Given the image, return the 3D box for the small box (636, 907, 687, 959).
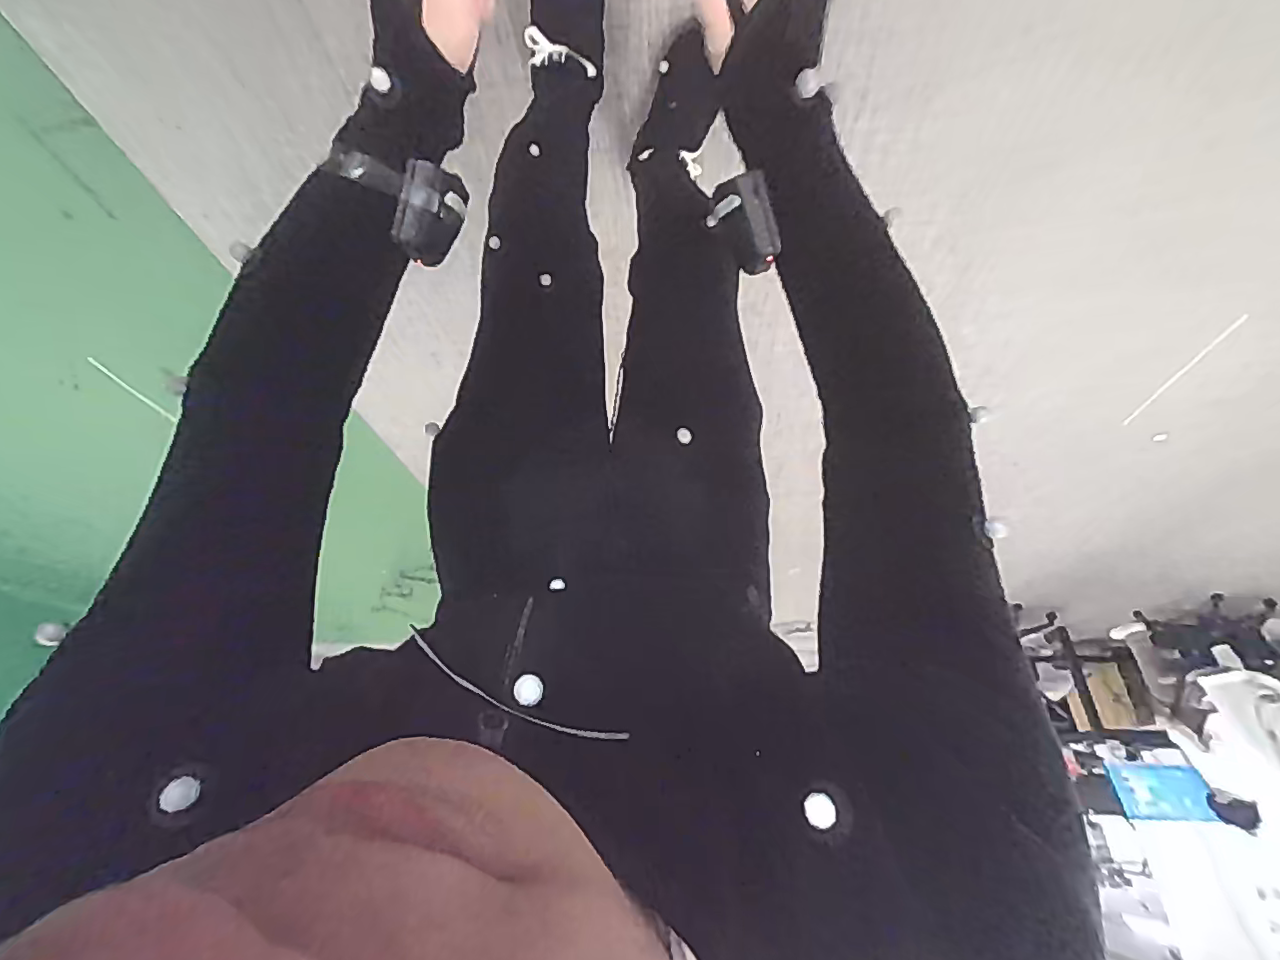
[{"bbox_3d":[0.081,1.709,2.005,0.179,0.176,0.168,-3,149,8],"label":"small box"}]
